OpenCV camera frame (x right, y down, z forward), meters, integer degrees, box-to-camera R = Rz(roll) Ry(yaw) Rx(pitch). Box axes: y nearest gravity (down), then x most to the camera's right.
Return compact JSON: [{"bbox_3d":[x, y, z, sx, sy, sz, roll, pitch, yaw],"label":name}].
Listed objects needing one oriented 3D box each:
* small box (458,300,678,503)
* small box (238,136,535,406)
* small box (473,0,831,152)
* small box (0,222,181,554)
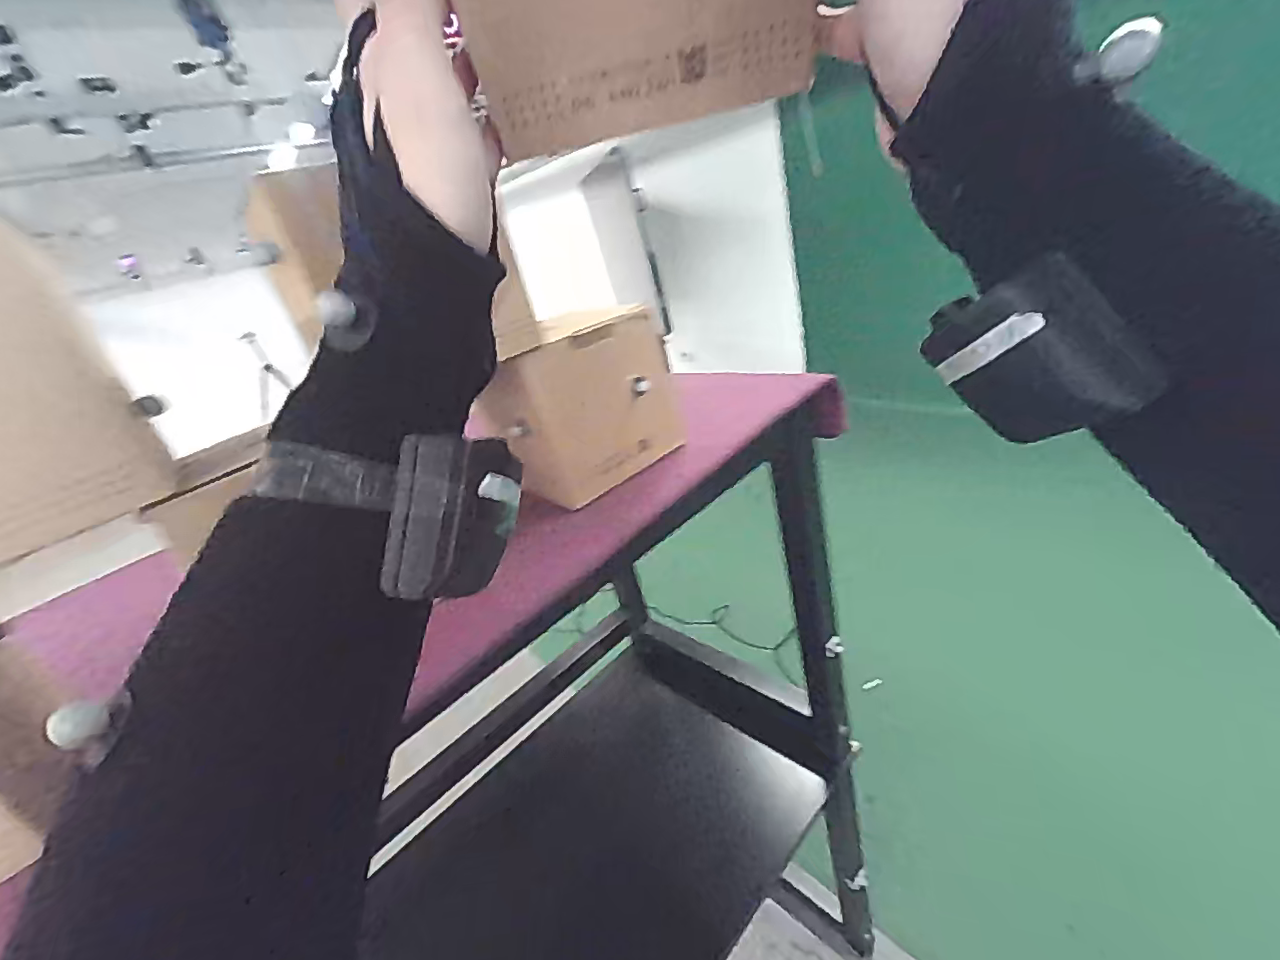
[{"bbox_3d":[-0.081,-0.091,0.616,0.168,0.176,0.179,-31,27,-29],"label":"small box"},{"bbox_3d":[-0.218,-0.175,0.479,0.168,0.176,0.179,-31,28,-29],"label":"small box"},{"bbox_3d":[-0.005,-0.294,0.274,0.168,0.176,0.179,-12,50,5],"label":"small box"},{"bbox_3d":[-0.422,-0.039,0.317,0.179,0.176,0.168,-31,28,-32],"label":"small box"}]
